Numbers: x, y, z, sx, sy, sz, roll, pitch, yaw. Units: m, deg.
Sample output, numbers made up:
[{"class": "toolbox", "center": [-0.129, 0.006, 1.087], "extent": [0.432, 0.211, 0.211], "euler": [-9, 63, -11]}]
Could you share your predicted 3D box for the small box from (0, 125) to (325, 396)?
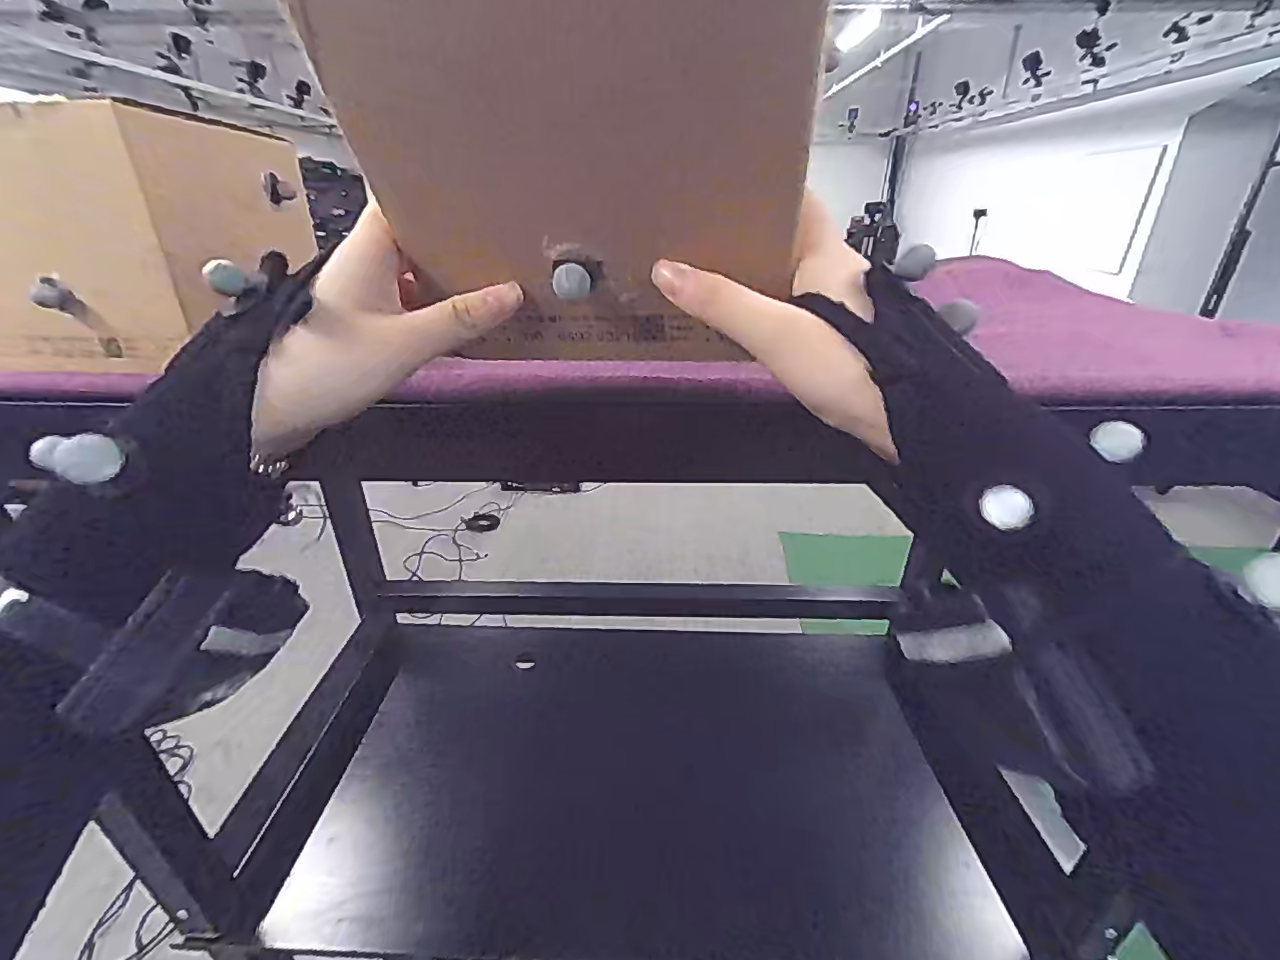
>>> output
[{"class": "small box", "center": [-0.386, -0.174, 0.436], "extent": [0.168, 0.176, 0.179], "euler": [1, 26, 2]}]

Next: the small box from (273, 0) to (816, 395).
[{"class": "small box", "center": [-0.015, -0.163, 0.256], "extent": [0.168, 0.176, 0.179], "euler": [2, 55, 10]}]
